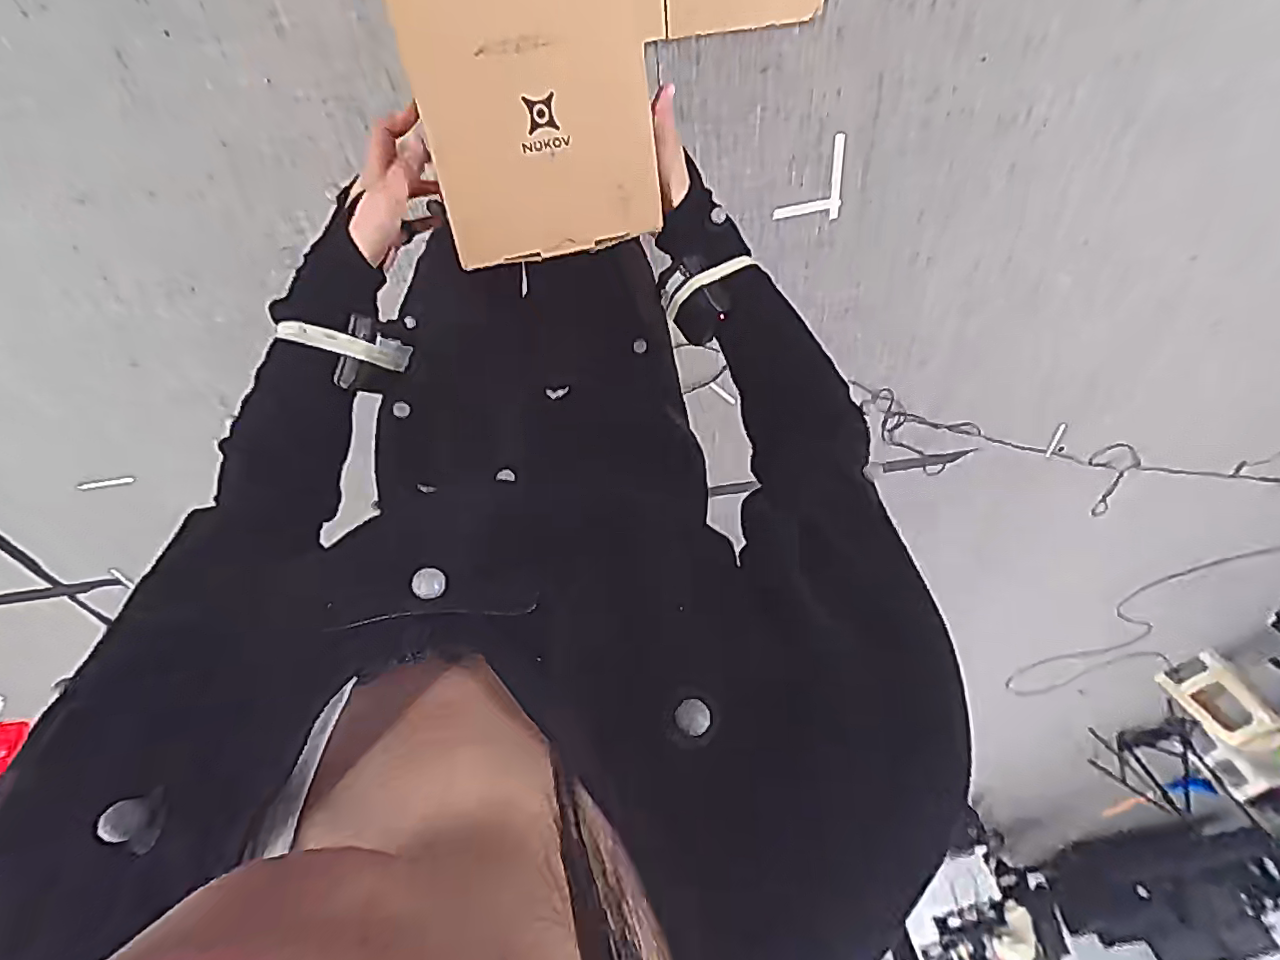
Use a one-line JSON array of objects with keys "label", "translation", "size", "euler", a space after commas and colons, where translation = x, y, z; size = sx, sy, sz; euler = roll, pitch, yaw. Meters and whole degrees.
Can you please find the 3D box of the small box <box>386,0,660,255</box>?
[{"label": "small box", "translation": [-0.094, -0.301, 0.445], "size": [0.168, 0.176, 0.179], "euler": [-16, 122, -11]}]
